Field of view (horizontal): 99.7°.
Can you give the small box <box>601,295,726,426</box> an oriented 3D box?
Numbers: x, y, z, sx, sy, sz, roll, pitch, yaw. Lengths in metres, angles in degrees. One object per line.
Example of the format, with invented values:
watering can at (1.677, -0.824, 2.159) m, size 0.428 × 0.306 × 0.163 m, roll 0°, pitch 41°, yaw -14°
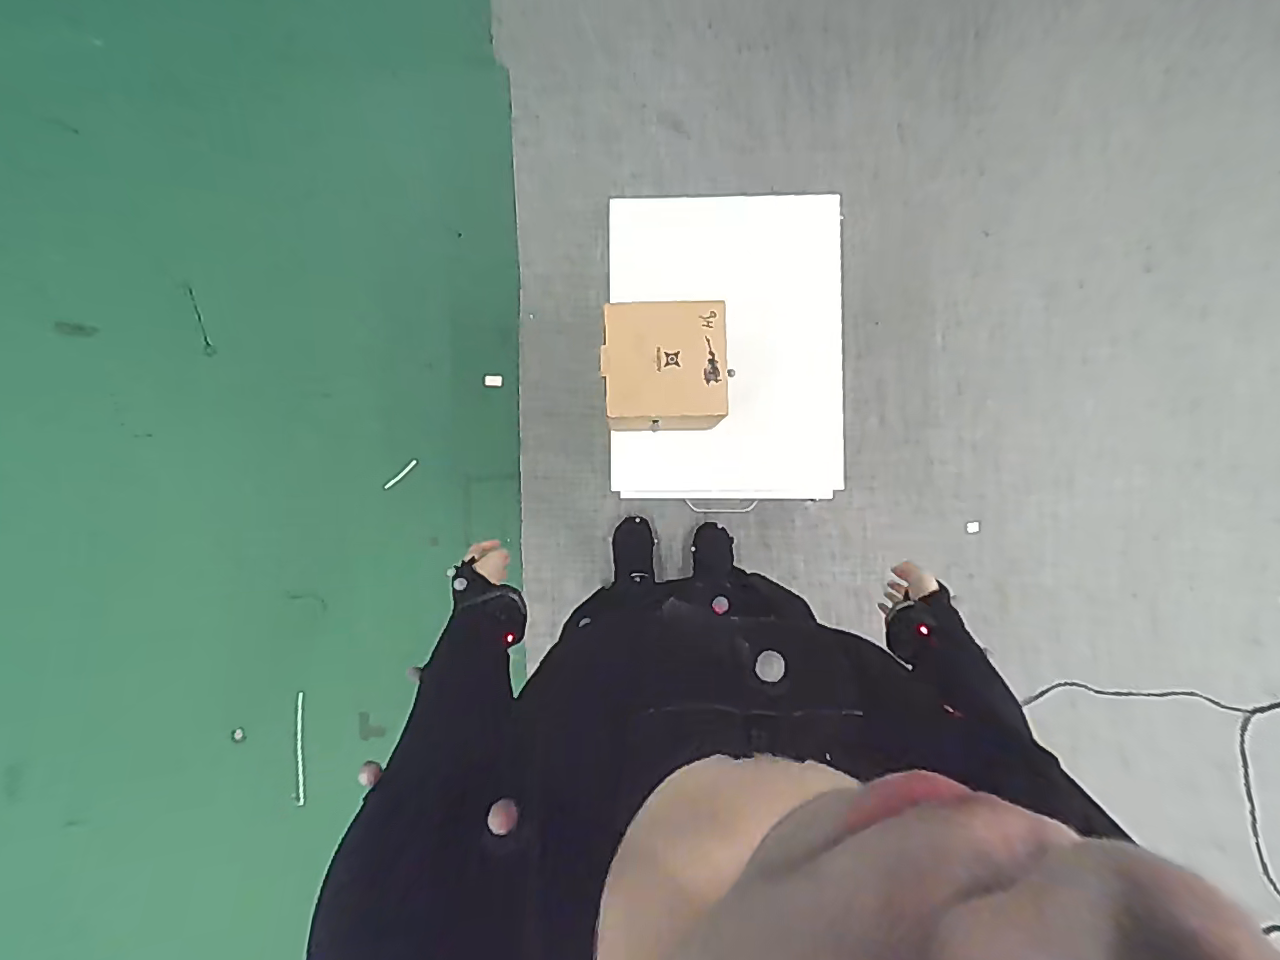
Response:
small box at (0.036, -0.175, 0.837) m, size 0.179 × 0.176 × 0.168 m, roll -1°, pitch 89°, yaw 1°
